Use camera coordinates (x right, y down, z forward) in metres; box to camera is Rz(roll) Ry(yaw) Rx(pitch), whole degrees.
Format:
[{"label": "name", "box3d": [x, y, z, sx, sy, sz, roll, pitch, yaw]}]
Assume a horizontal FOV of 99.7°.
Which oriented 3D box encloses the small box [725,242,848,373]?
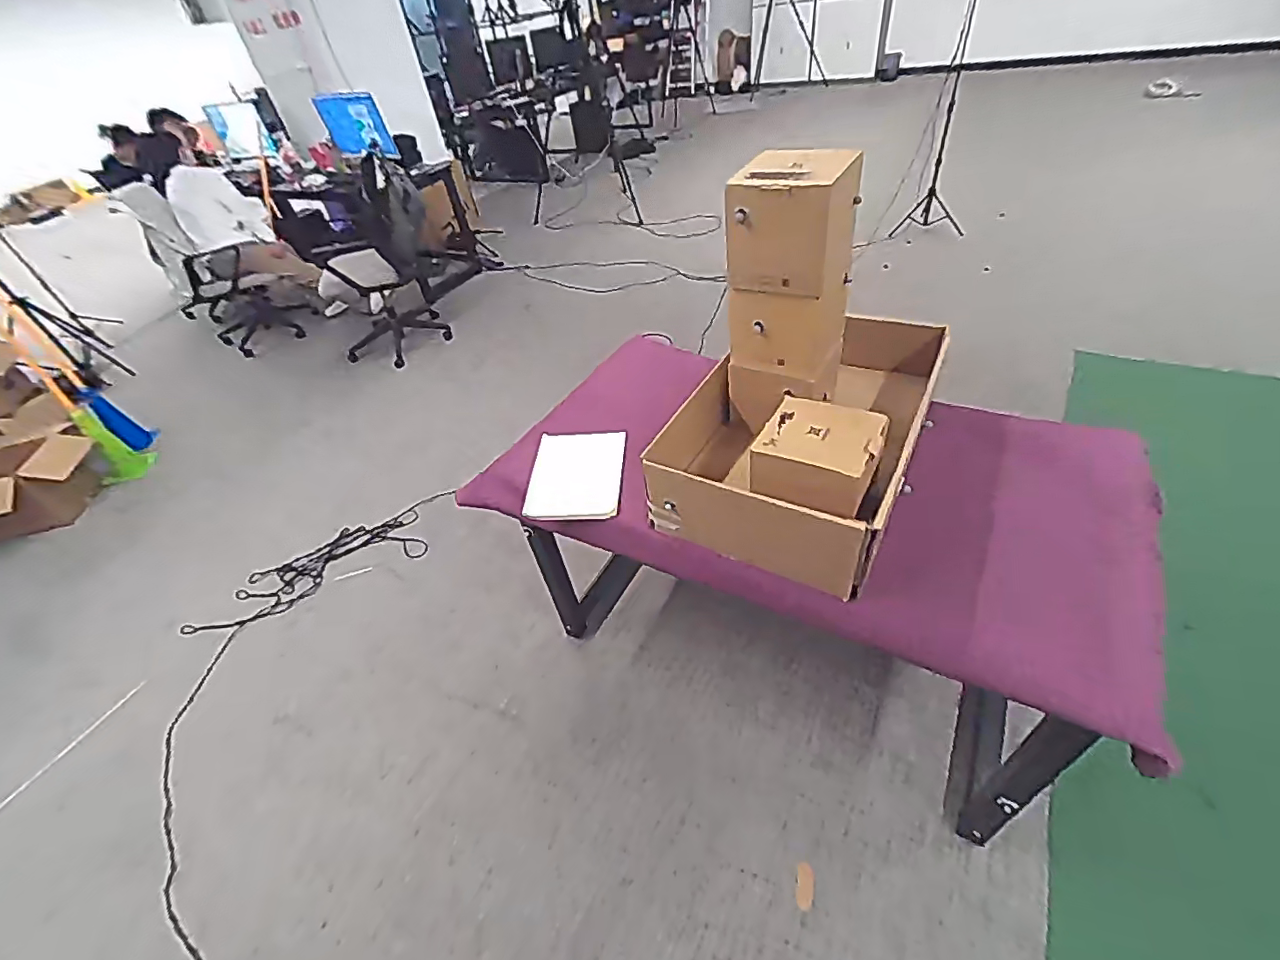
[{"label": "small box", "box3d": [0.275, -0.323, 1.015, 0.168, 0.176, 0.179, 19, 52, 28]}]
